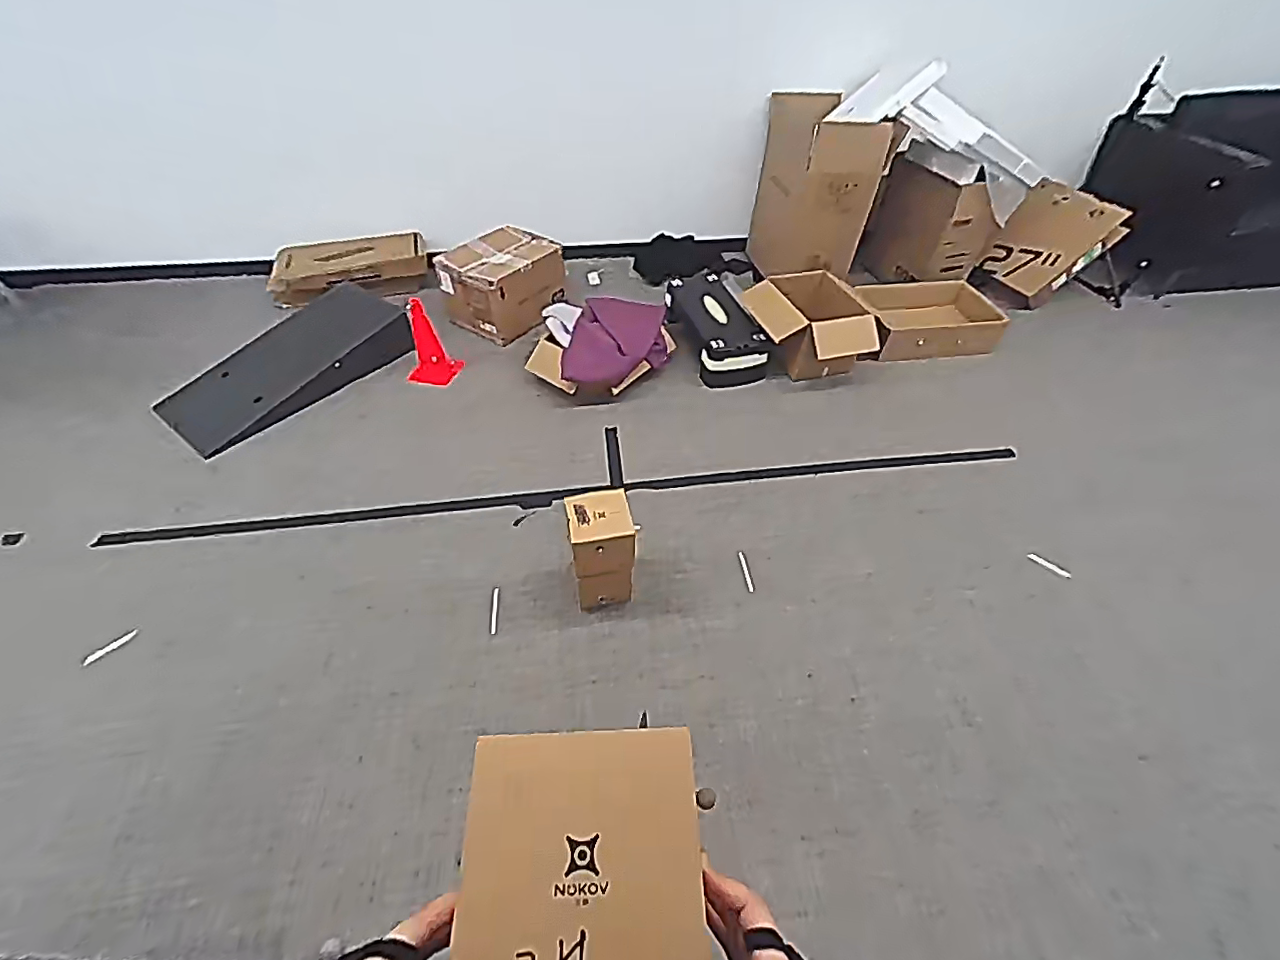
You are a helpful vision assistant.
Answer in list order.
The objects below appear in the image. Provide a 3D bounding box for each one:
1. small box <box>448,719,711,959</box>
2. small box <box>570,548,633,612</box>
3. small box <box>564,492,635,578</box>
[{"bbox_3d":[-0.037,0.303,0.428,0.168,0.176,0.179,-3,54,0],"label":"small box"},{"bbox_3d":[-0.121,0.276,1.659,0.168,0.176,0.179,-11,49,-10],"label":"small box"},{"bbox_3d":[-0.114,0.161,1.541,0.179,0.176,0.168,-9,48,-9],"label":"small box"}]
